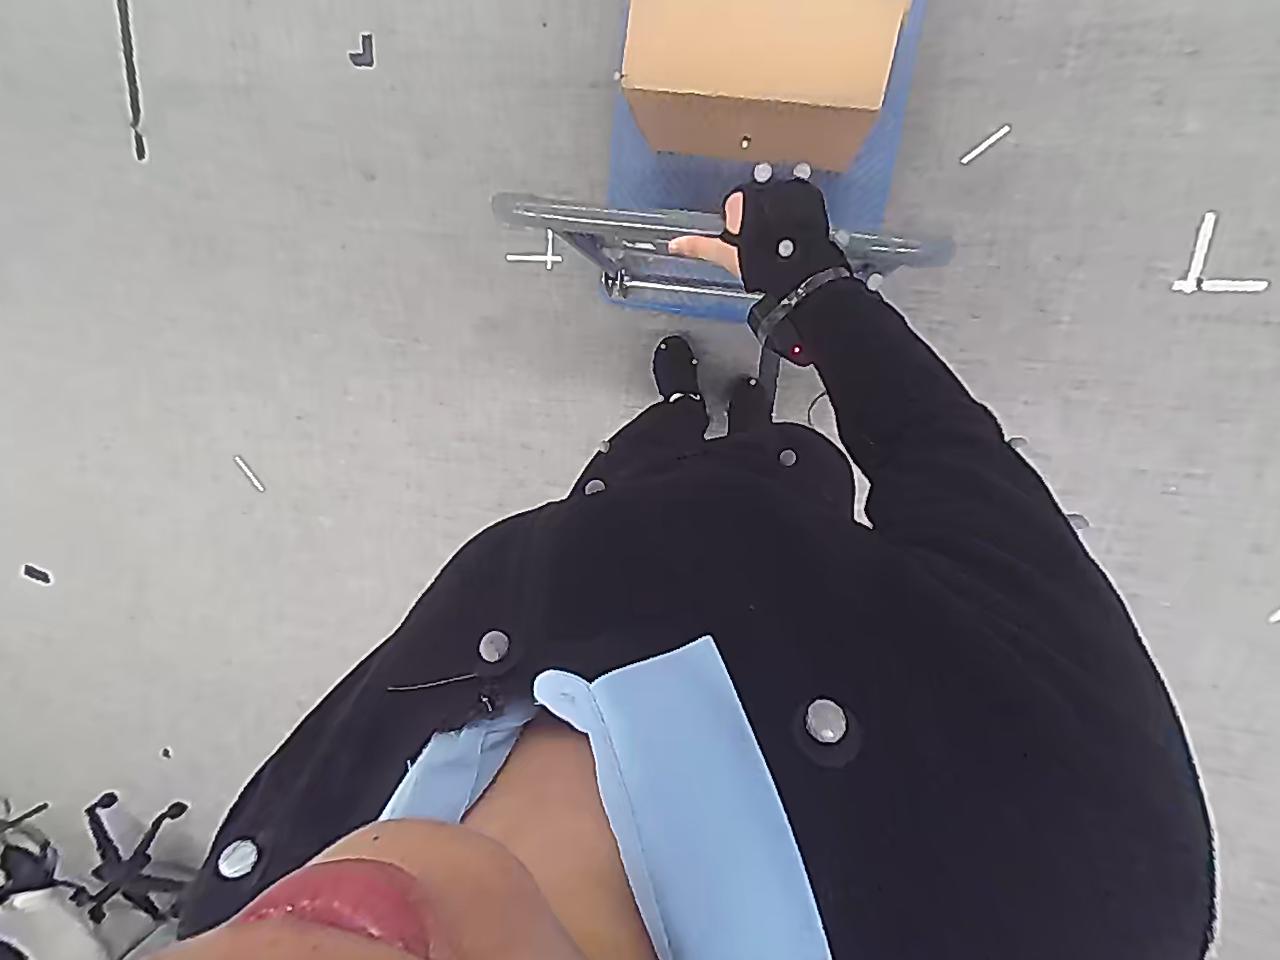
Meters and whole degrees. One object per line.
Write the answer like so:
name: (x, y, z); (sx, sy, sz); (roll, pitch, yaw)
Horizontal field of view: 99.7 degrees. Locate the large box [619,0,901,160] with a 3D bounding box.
large box: (0.210, -0.773, 0.921); (0.408, 0.320, 0.320); (11, 105, 9)
